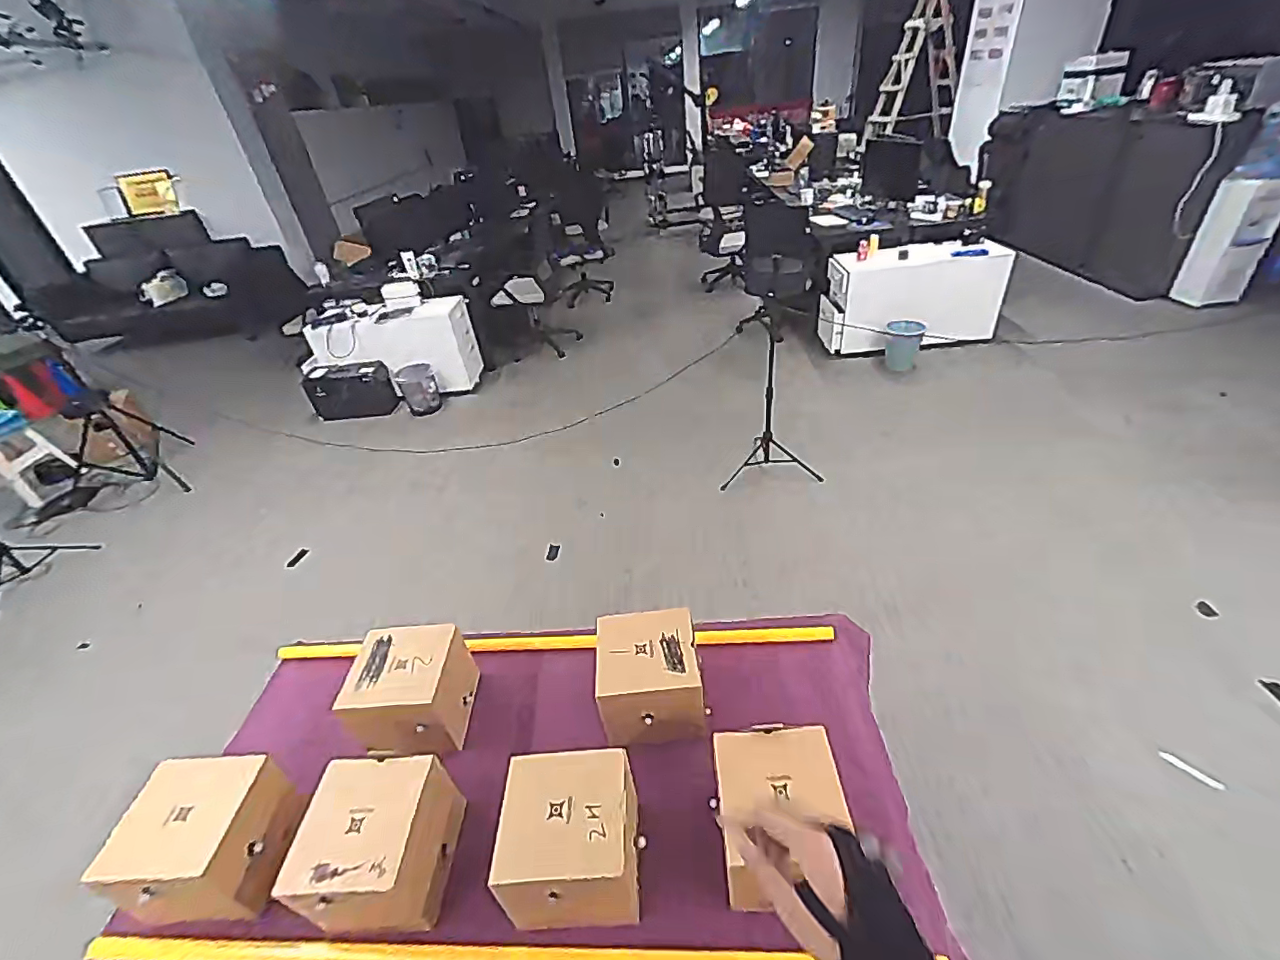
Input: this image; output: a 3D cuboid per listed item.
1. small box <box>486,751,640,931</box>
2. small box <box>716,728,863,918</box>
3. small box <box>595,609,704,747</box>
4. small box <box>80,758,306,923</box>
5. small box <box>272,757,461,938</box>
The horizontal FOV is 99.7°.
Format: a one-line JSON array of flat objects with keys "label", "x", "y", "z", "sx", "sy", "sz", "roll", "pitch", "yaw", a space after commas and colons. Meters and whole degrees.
[{"label": "small box", "x": -0.097, "y": 0.517, "z": 0.775, "sx": 0.179, "sy": 0.176, "sz": 0.168, "roll": -5, "pitch": 34, "yaw": 3}, {"label": "small box", "x": 0.199, "y": 0.482, "z": 0.765, "sx": 0.168, "sy": 0.176, "sz": 0.179, "roll": -6, "pitch": 34, "yaw": 5}, {"label": "small box", "x": 0.021, "y": 0.357, "z": 0.974, "sx": 0.179, "sy": 0.176, "sz": 0.168, "roll": -7, "pitch": 37, "yaw": 3}, {"label": "small box", "x": -0.661, "y": 0.554, "z": 0.832, "sx": 0.179, "sy": 0.176, "sz": 0.168, "roll": -5, "pitch": 35, "yaw": 3}, {"label": "small box", "x": -0.382, "y": 0.539, "z": 0.799, "sx": 0.168, "sy": 0.176, "sz": 0.179, "roll": -6, "pitch": 35, "yaw": 5}]
